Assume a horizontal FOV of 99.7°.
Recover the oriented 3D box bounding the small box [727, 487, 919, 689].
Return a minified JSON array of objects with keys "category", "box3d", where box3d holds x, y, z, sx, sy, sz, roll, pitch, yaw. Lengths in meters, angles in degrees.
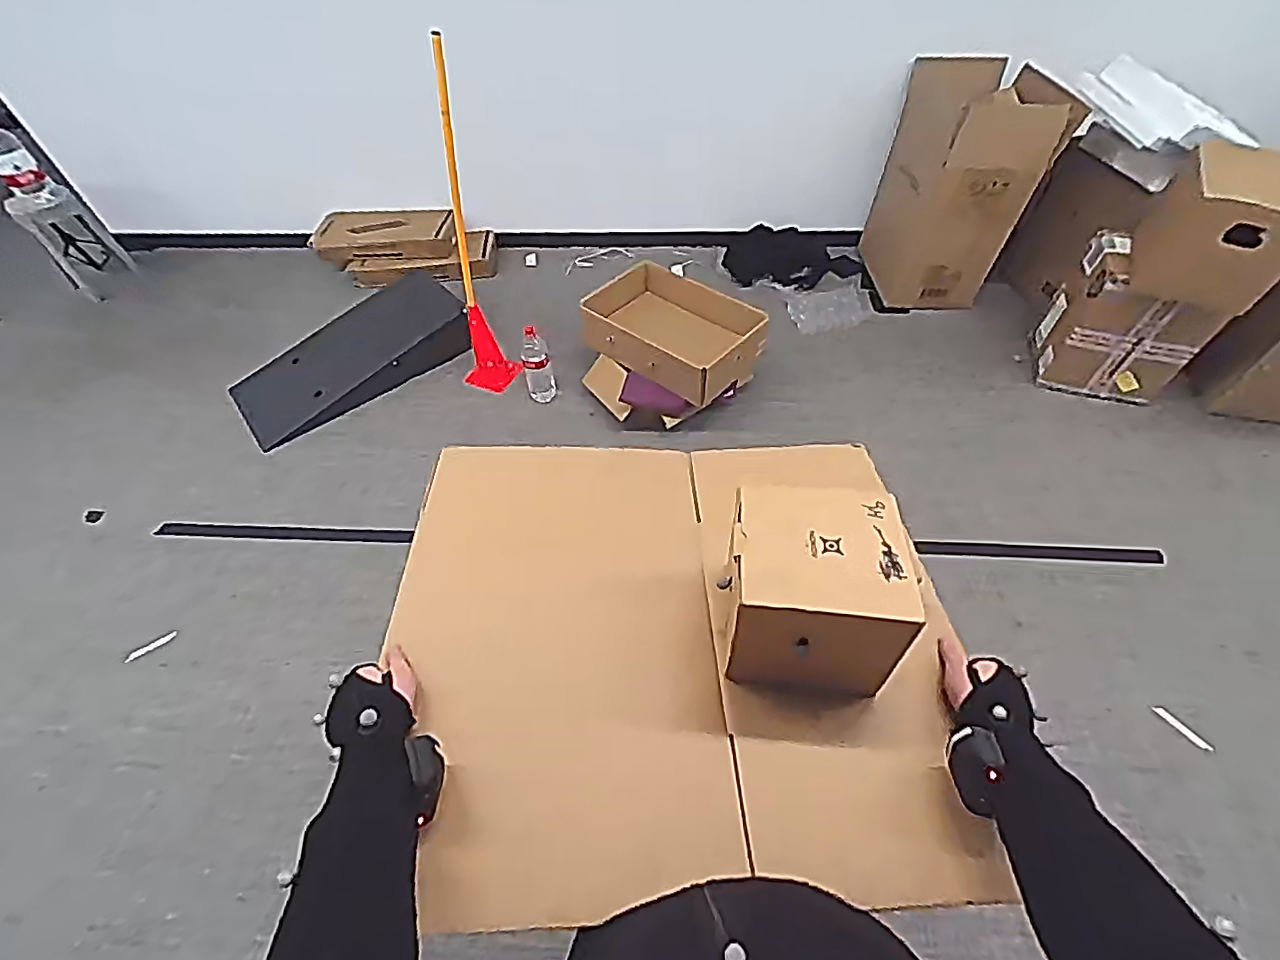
[{"category":"small box","box3d":[0.195,0.128,0.633,0.179,0.176,0.168,4,47,7]}]
